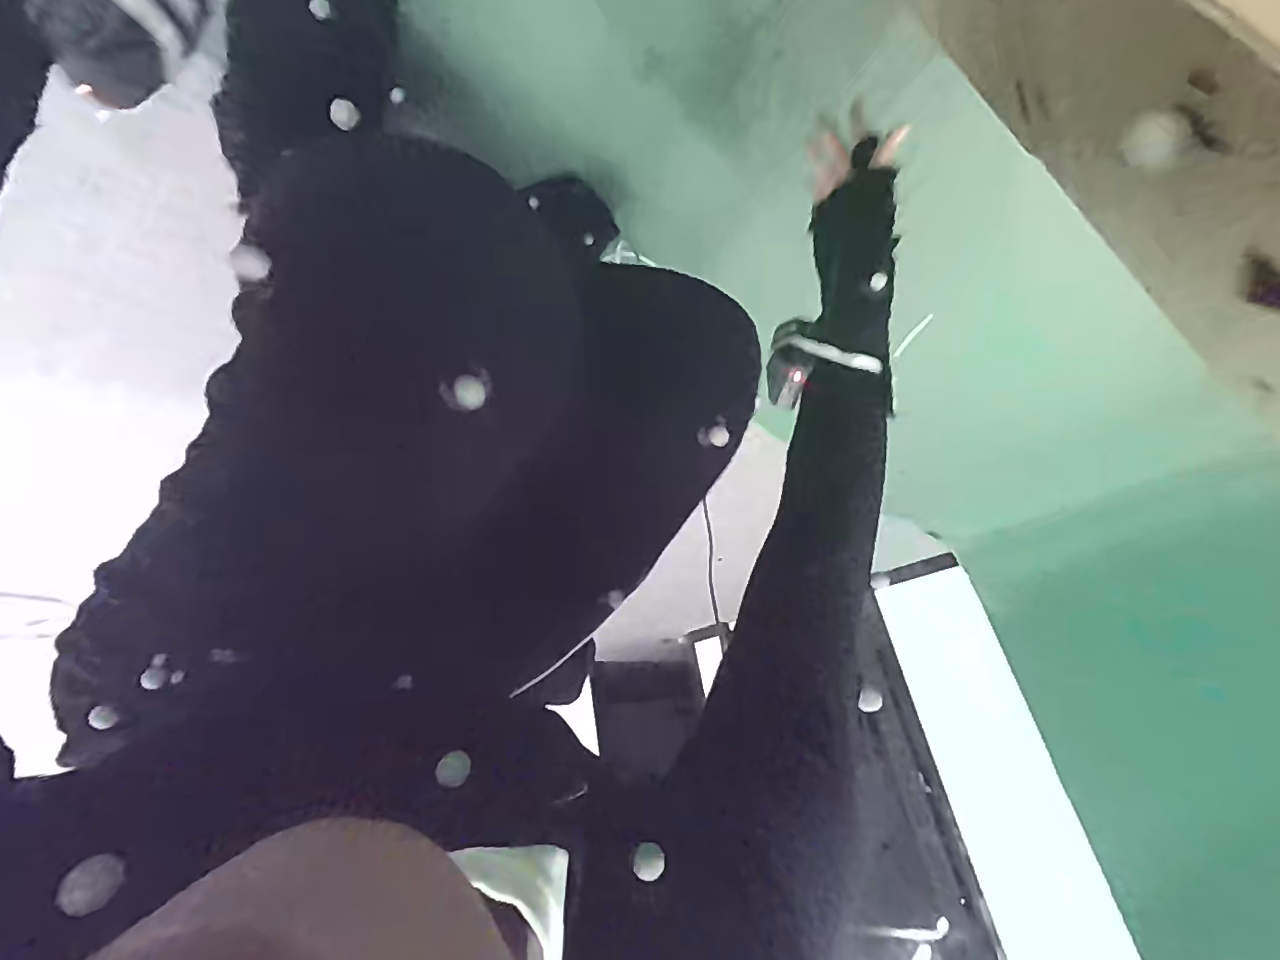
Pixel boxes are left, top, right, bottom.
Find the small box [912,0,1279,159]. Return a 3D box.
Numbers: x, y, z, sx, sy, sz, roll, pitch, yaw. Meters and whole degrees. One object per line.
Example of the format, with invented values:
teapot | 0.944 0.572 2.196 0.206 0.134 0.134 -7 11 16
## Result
small box | 0.211 -0.298 0.226 0.179 0.176 0.168 -28 150 33
